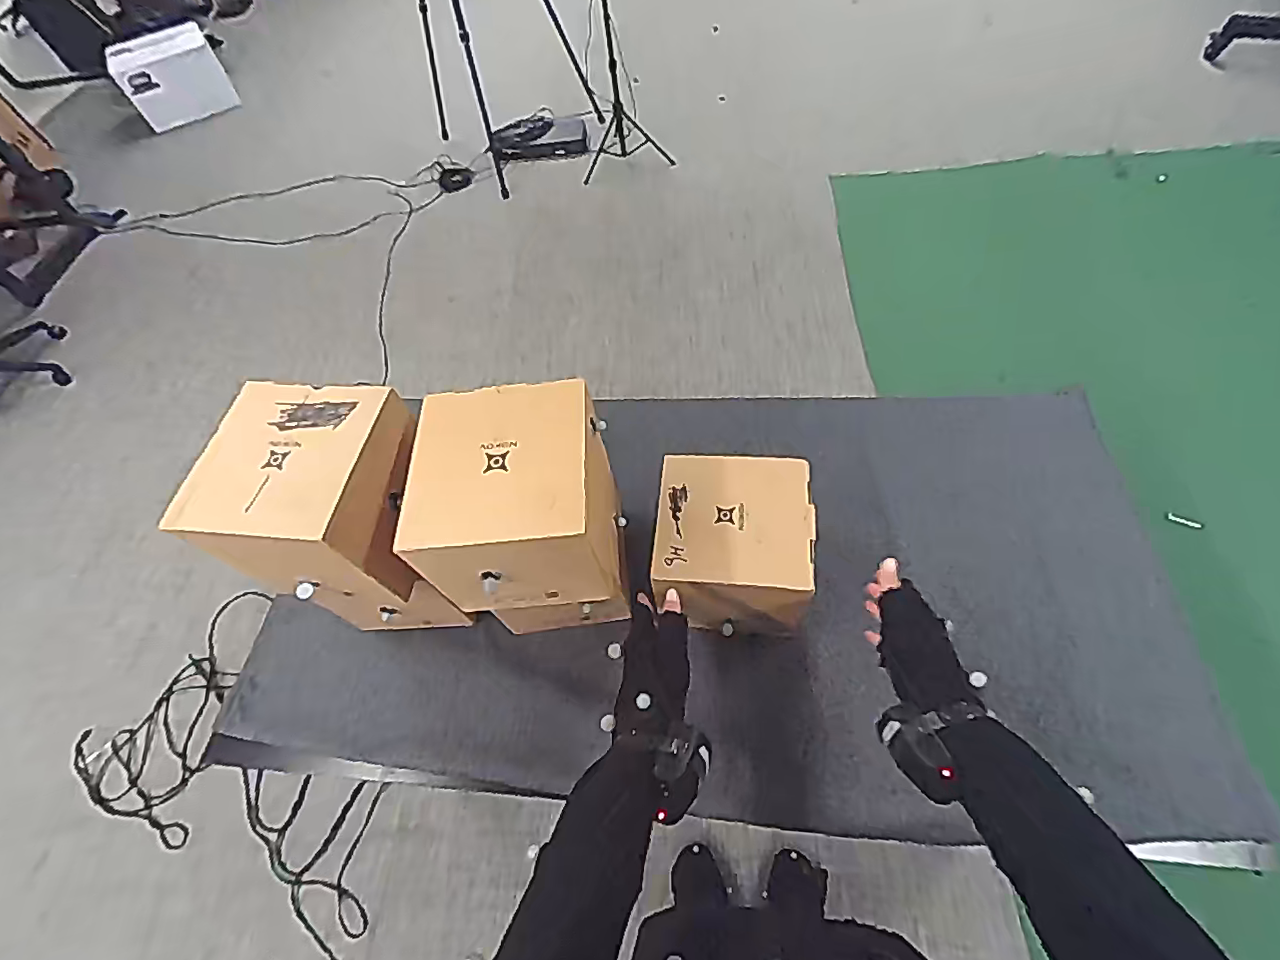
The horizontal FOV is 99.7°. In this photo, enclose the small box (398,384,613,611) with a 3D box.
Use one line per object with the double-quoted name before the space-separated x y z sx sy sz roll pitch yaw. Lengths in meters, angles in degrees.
"small box" -0.121 0.028 0.561 0.168 0.176 0.179 -6 57 2
